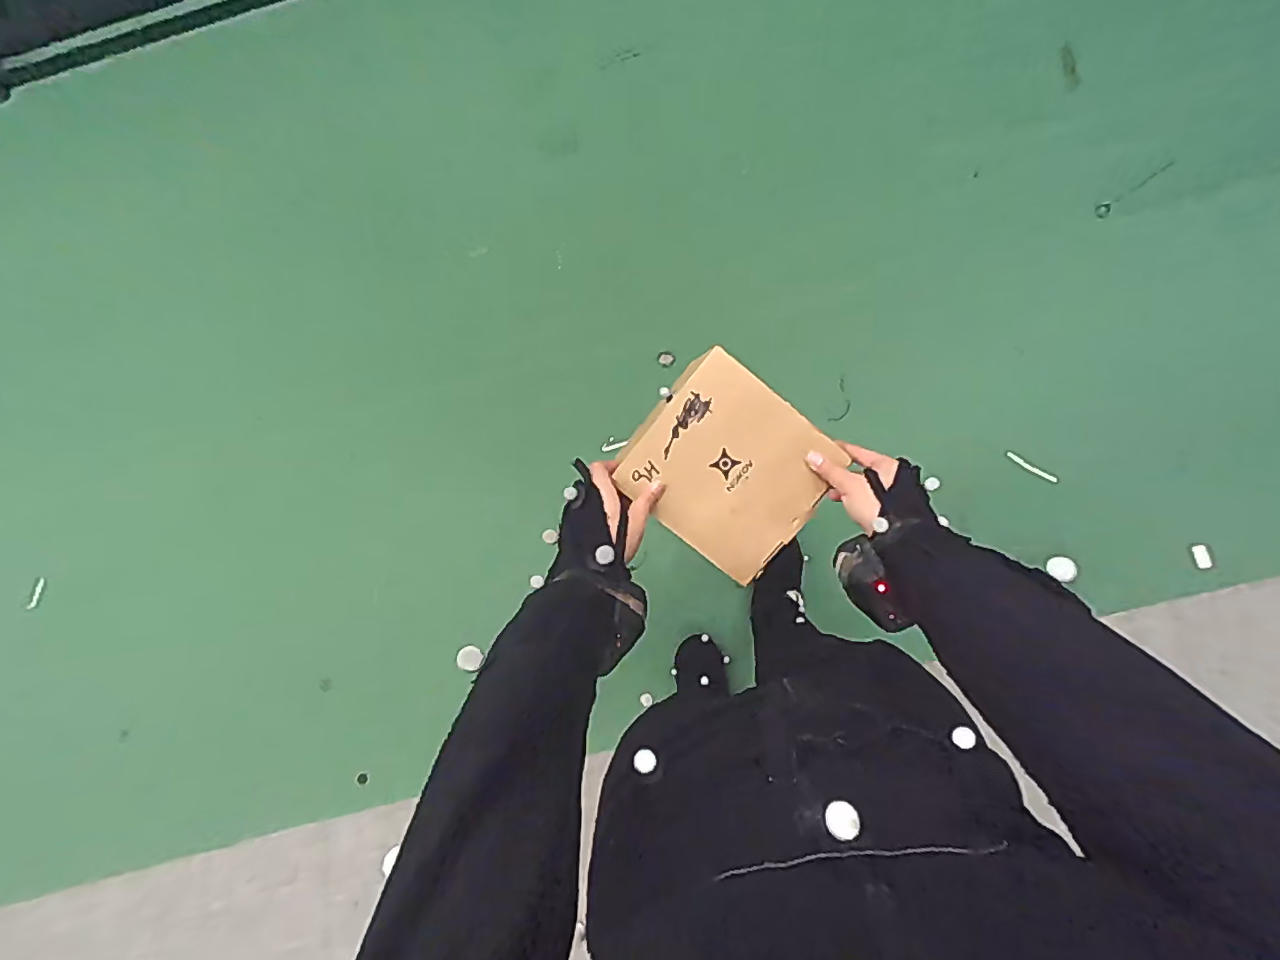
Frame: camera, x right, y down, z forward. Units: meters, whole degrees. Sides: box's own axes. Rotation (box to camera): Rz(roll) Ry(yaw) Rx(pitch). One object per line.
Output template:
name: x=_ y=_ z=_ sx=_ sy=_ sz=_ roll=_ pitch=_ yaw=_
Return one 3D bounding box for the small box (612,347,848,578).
small box: x=0.088 y=-0.026 z=0.606 sx=0.179 sy=0.176 sz=0.168 roll=39 pitch=96 yaw=-6
